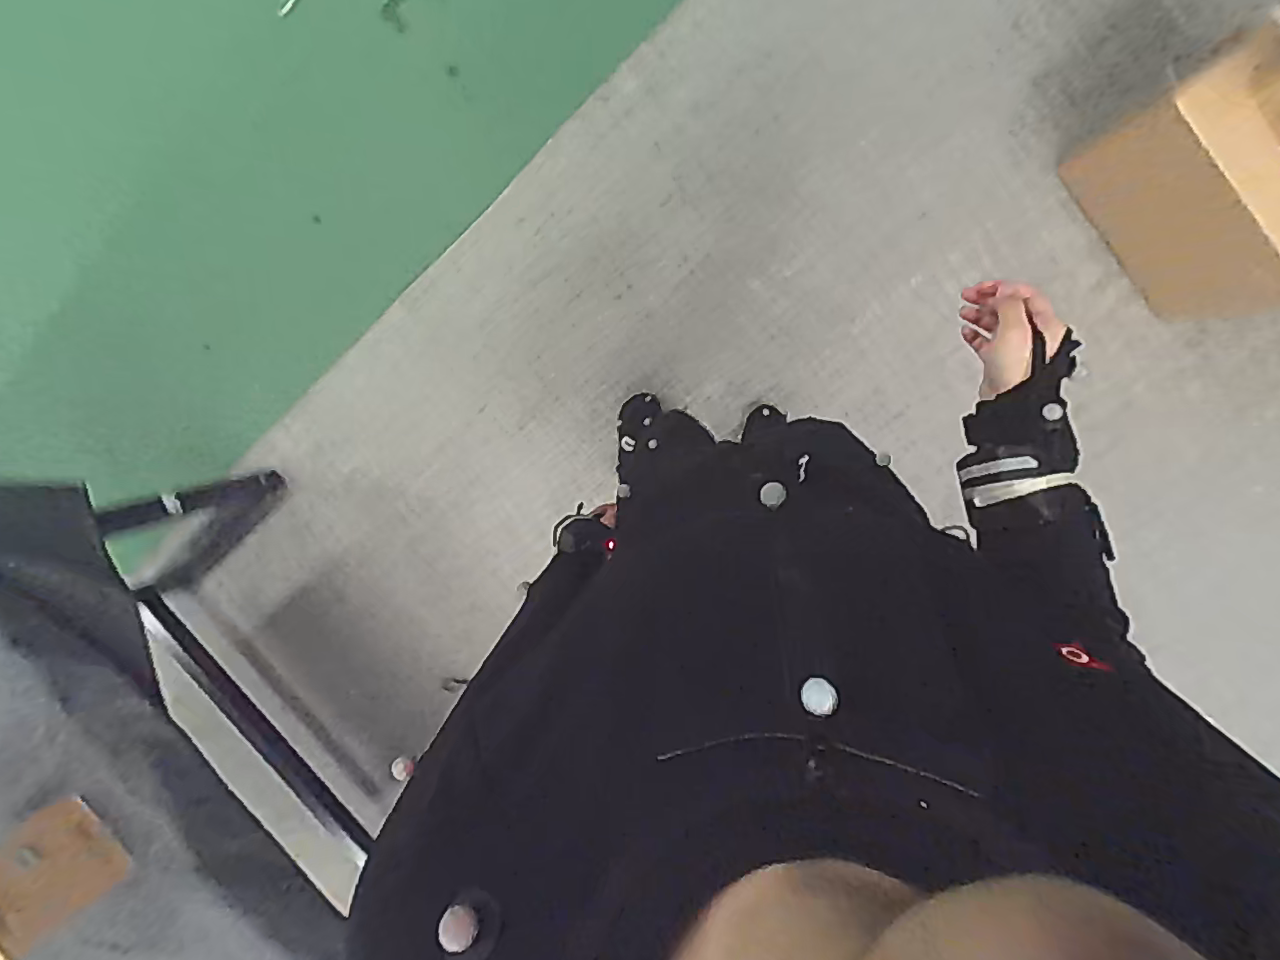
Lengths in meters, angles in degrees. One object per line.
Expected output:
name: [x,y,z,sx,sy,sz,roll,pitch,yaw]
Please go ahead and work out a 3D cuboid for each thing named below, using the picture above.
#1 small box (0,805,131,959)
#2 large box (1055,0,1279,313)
small box: [-0.950,0.647,0.829,0.179,0.176,0.168,-35,93,15]
large box: [1.060,-0.556,0.939,0.320,0.320,0.408,-39,94,15]
